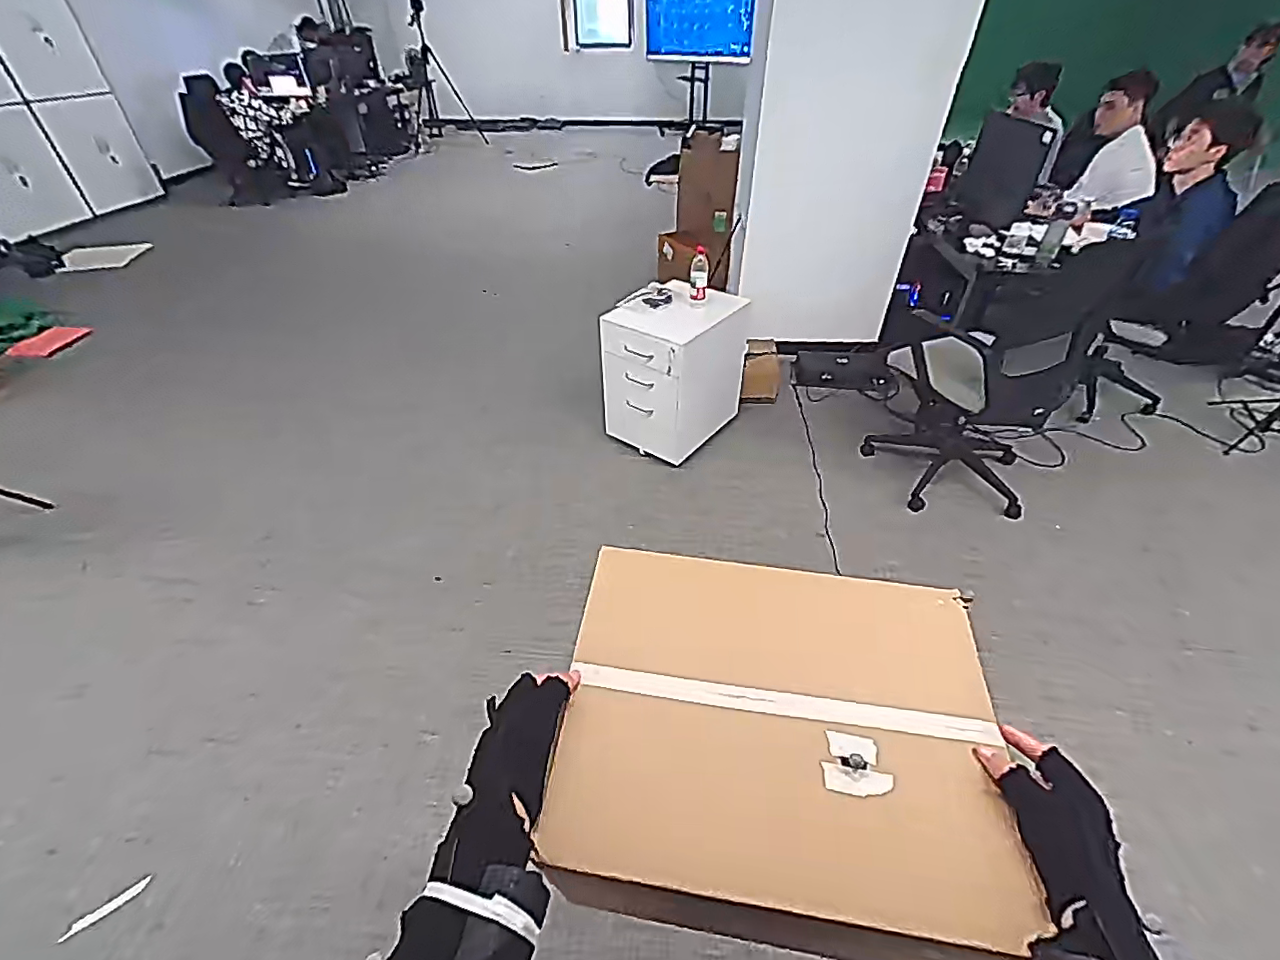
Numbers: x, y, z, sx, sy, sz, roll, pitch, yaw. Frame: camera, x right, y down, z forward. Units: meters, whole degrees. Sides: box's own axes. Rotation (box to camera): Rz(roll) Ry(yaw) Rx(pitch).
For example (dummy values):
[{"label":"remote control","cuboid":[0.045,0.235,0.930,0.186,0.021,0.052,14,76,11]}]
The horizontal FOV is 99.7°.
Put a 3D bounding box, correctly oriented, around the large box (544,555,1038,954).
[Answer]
[{"label":"large box","cuboid":[0.133,0.321,0.642,0.408,0.320,0.320,7,48,6]}]
